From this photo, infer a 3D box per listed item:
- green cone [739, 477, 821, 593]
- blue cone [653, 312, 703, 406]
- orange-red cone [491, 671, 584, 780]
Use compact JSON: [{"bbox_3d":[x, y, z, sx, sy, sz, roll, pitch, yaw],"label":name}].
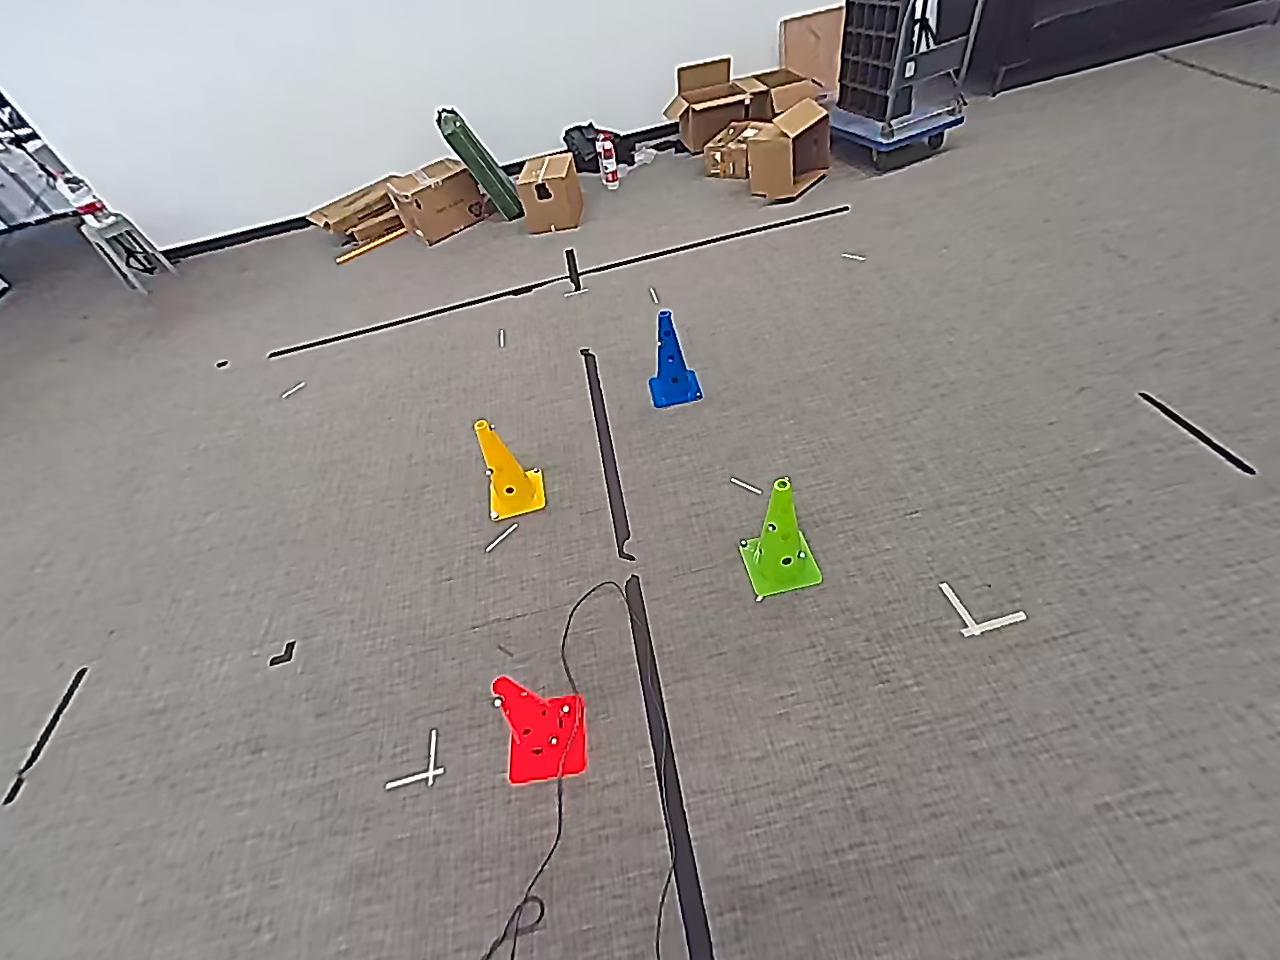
[{"bbox_3d":[0.392,0.128,1.499,0.202,0.368,0.200,-13,47,-1],"label":"green cone"},{"bbox_3d":[0.132,-0.488,2.129,0.192,0.380,0.193,-10,48,2],"label":"blue cone"},{"bbox_3d":[-0.271,0.544,1.275,0.199,0.360,0.198,-11,46,4],"label":"orange-red cone"}]
